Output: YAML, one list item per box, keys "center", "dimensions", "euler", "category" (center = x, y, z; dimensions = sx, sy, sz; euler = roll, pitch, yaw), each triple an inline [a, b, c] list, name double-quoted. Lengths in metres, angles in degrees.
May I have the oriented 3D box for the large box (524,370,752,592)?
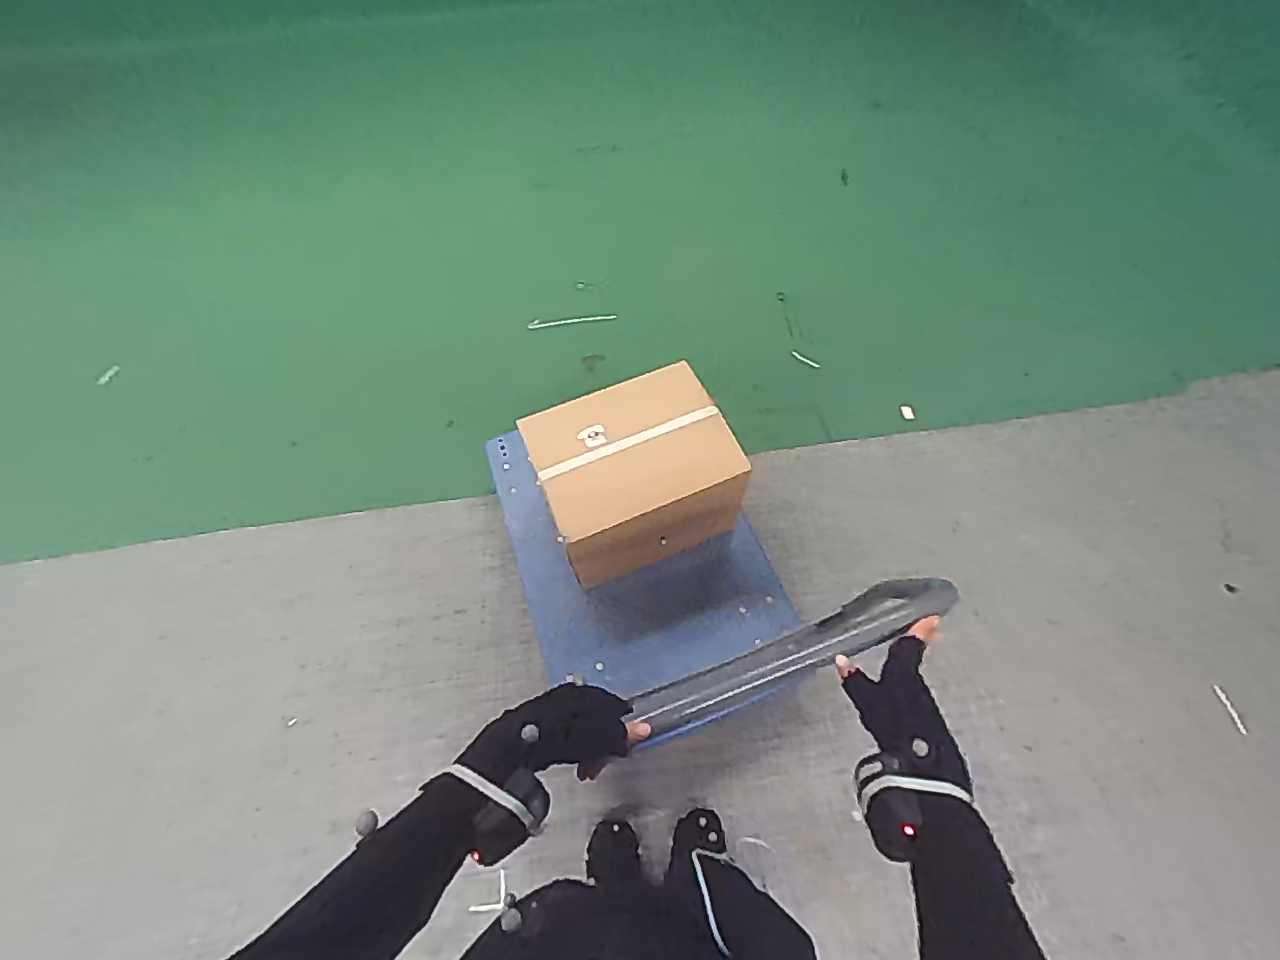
- center: [-0.006, 0.011, 1.261]
  dimensions: [0.408, 0.320, 0.320]
  euler: [-22, 63, -10]
  category: "large box"
